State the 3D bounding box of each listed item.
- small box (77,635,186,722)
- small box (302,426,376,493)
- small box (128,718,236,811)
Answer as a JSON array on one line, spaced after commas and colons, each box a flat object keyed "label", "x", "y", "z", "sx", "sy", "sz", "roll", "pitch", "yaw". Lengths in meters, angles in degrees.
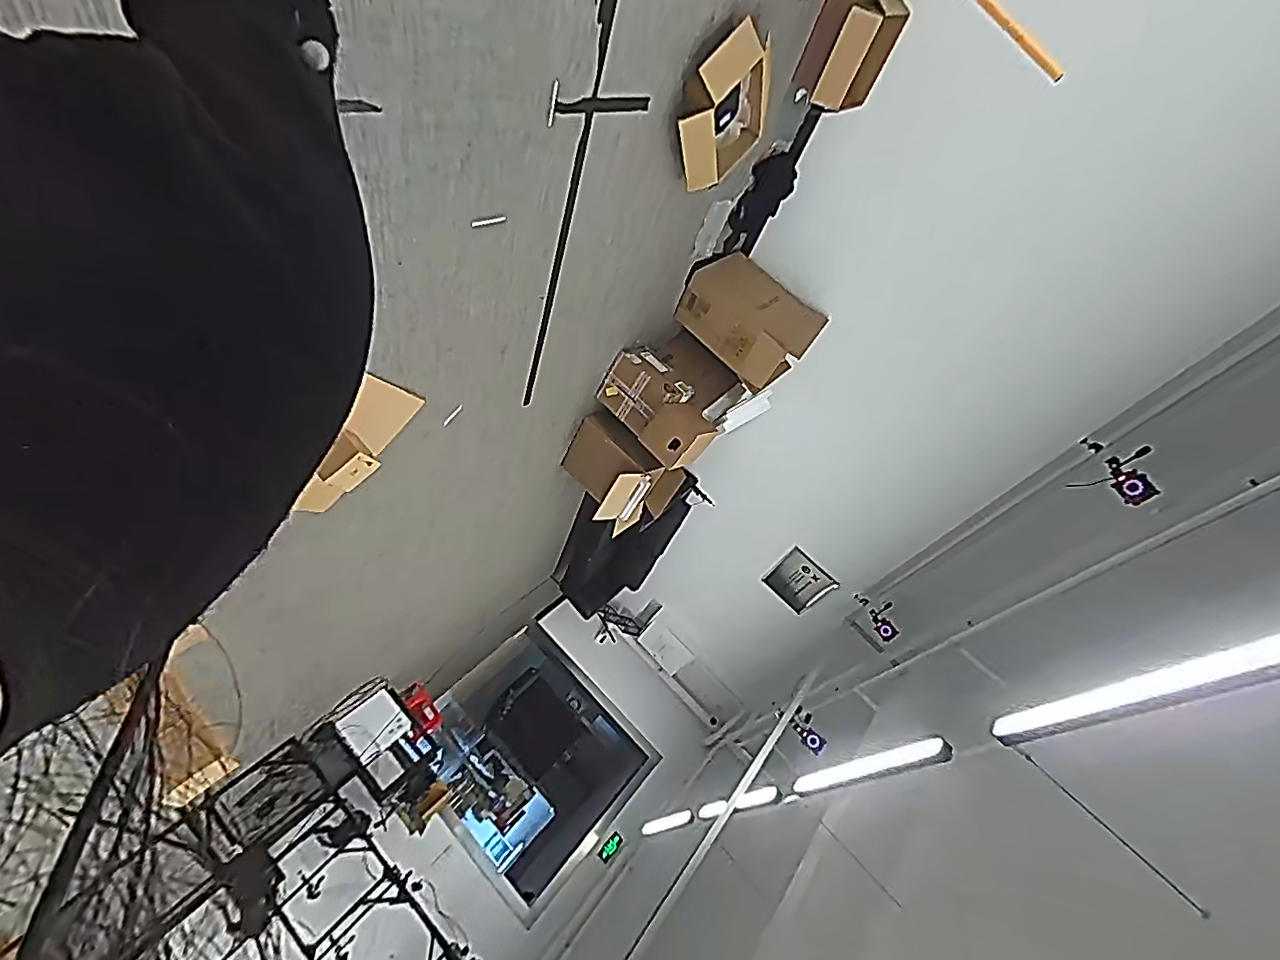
[{"label": "small box", "x": -1.574, "y": 0.610, "z": 1.674, "sx": 0.168, "sy": 0.176, "sz": 0.179, "roll": -36, "pitch": 164, "yaw": -35}, {"label": "small box", "x": -1.199, "y": -0.081, "z": 2.142, "sx": 0.179, "sy": 0.176, "sz": 0.168, "roll": -42, "pitch": 167, "yaw": -8}, {"label": "small box", "x": -1.347, "y": 0.836, "z": 1.596, "sx": 0.168, "sy": 0.176, "sz": 0.179, "roll": -37, "pitch": 164, "yaw": -38}]
